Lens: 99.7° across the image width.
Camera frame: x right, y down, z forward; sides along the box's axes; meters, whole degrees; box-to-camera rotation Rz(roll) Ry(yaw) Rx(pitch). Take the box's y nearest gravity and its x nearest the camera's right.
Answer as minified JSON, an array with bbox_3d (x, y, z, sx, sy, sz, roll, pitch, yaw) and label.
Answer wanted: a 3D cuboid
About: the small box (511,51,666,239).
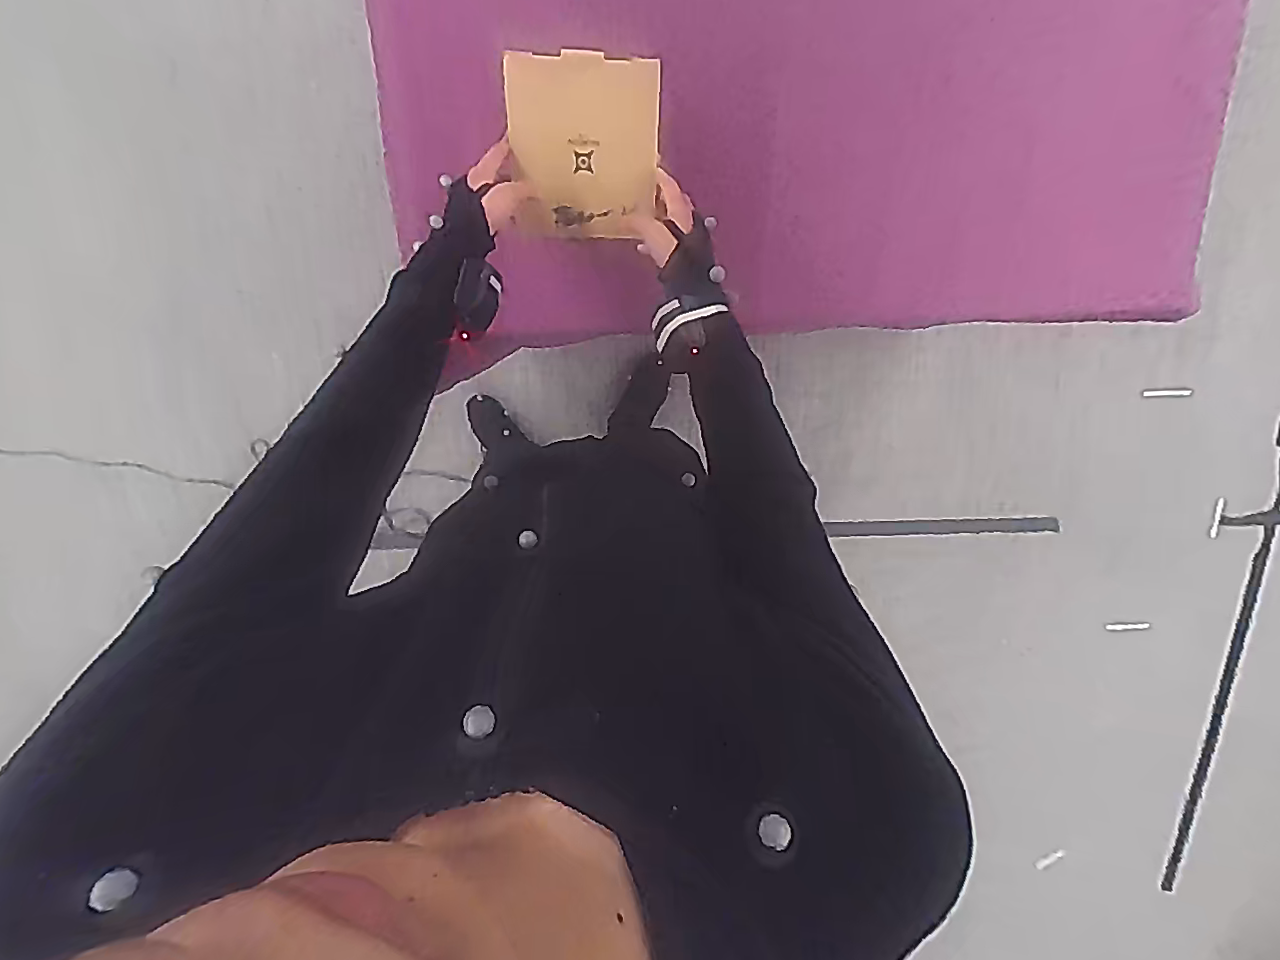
[{"bbox_3d":[-0.063,-0.403,0.673,0.168,0.176,0.179,0,119,-4],"label":"small box"}]
